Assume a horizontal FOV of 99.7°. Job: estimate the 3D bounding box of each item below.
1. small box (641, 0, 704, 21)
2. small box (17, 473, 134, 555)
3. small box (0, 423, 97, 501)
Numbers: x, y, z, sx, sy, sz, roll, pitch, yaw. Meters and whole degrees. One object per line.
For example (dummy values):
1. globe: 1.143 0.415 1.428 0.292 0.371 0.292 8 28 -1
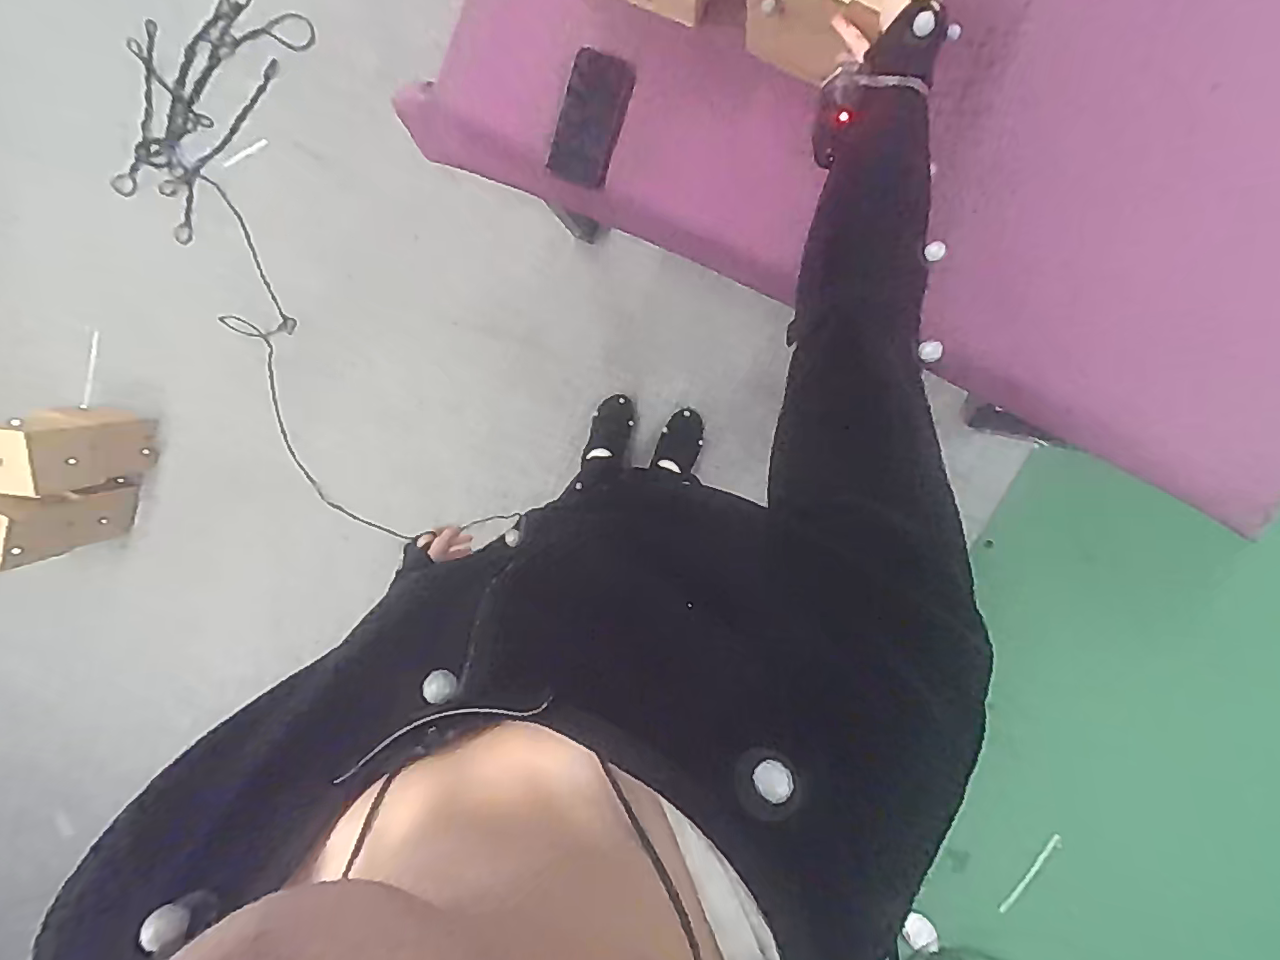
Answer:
1. small box: 0.015 -0.635 0.554 0.168 0.176 0.179 23 101 1
2. small box: -1.653 0.088 1.592 0.168 0.176 0.179 23 103 1
3. small box: -1.555 -0.053 1.389 0.179 0.176 0.168 7 102 5
